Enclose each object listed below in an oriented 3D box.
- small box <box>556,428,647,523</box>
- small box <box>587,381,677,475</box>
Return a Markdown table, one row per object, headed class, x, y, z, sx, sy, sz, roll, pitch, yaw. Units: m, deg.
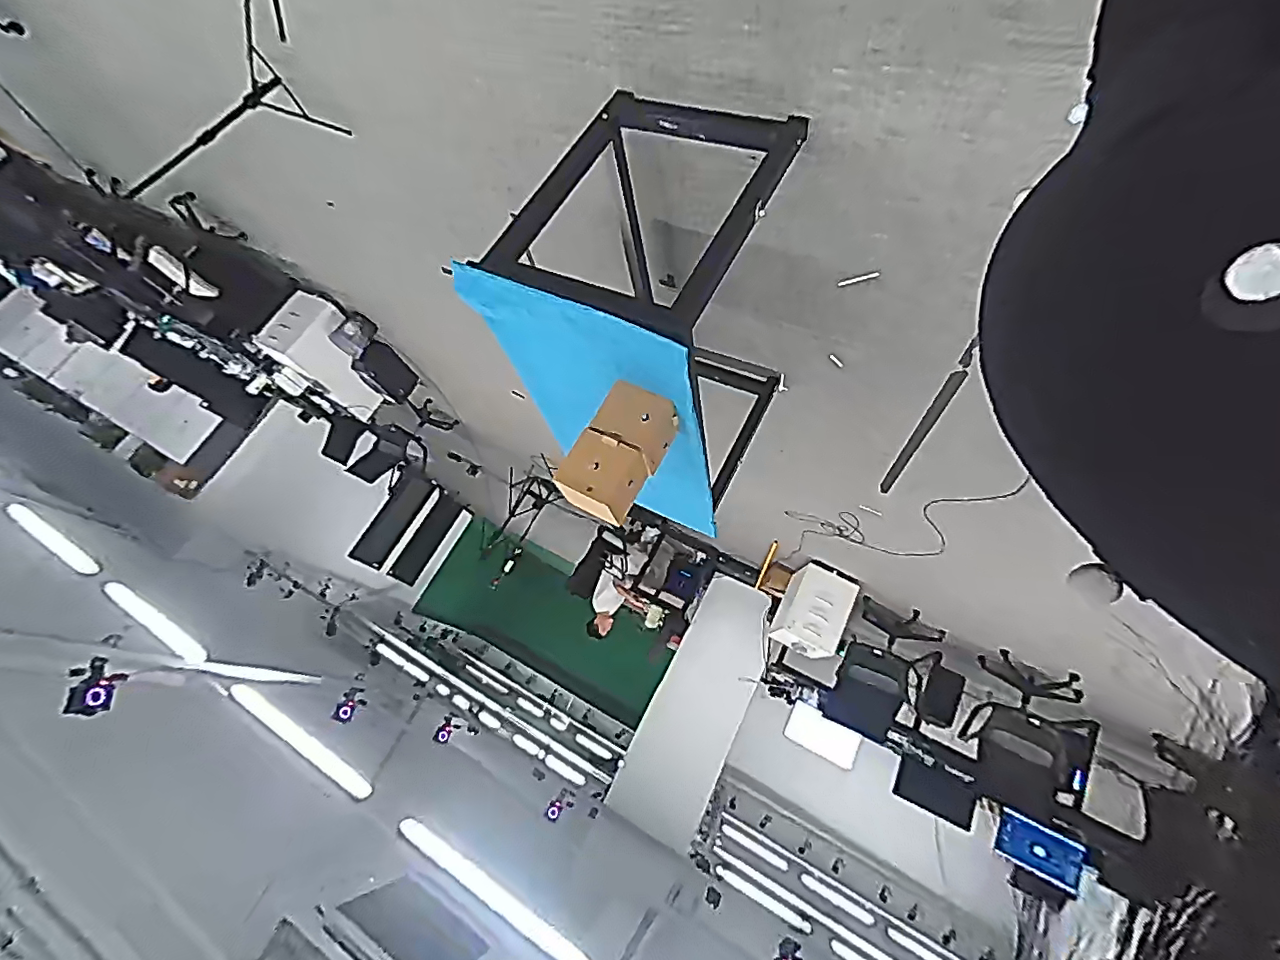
| class | x | y | z | sx | sy | sz | roll | pitch | yaw |
| --- | --- | --- | --- | --- | --- | --- | --- | --- | --- |
| small box | -0.101 | -0.005 | 1.431 | 0.168 | 0.176 | 0.179 | 25 | 165 | 18 |
| small box | -0.018 | -0.136 | 1.484 | 0.179 | 0.176 | 0.168 | 23 | 161 | 19 |
